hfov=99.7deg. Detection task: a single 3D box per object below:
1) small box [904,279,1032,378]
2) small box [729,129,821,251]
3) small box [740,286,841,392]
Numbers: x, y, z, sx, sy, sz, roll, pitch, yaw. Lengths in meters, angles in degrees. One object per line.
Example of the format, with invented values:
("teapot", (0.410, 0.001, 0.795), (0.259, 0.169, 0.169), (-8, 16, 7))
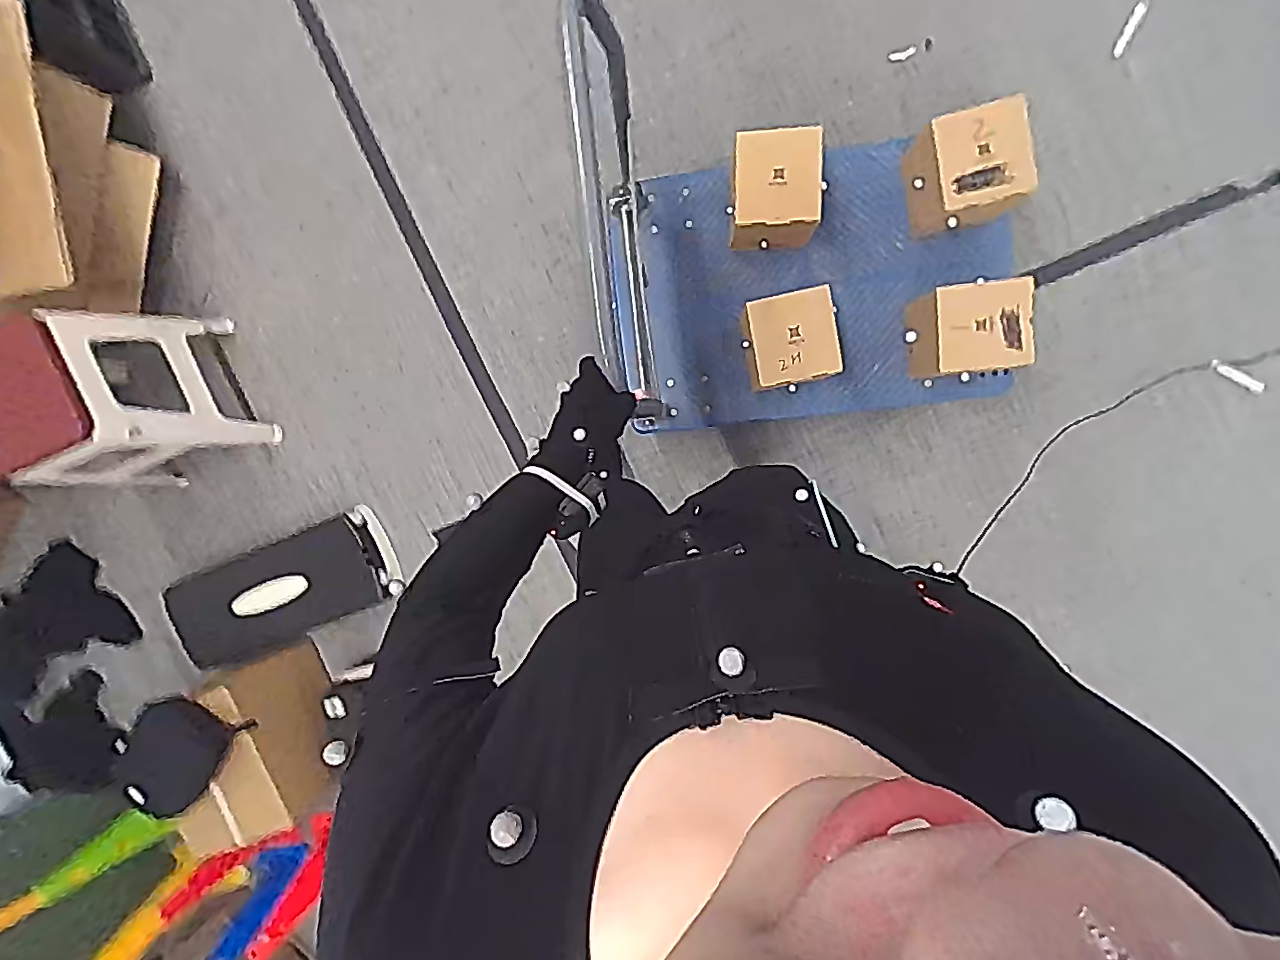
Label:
("small box", (0.671, -0.305, 1.121), (0.179, 0.176, 0.168), (-5, 96, 8))
("small box", (0.275, -0.597, 1.131), (0.168, 0.176, 0.179), (-1, 98, 6))
("small box", (0.315, -0.293, 1.160), (0.168, 0.176, 0.179), (-11, 95, 7))
